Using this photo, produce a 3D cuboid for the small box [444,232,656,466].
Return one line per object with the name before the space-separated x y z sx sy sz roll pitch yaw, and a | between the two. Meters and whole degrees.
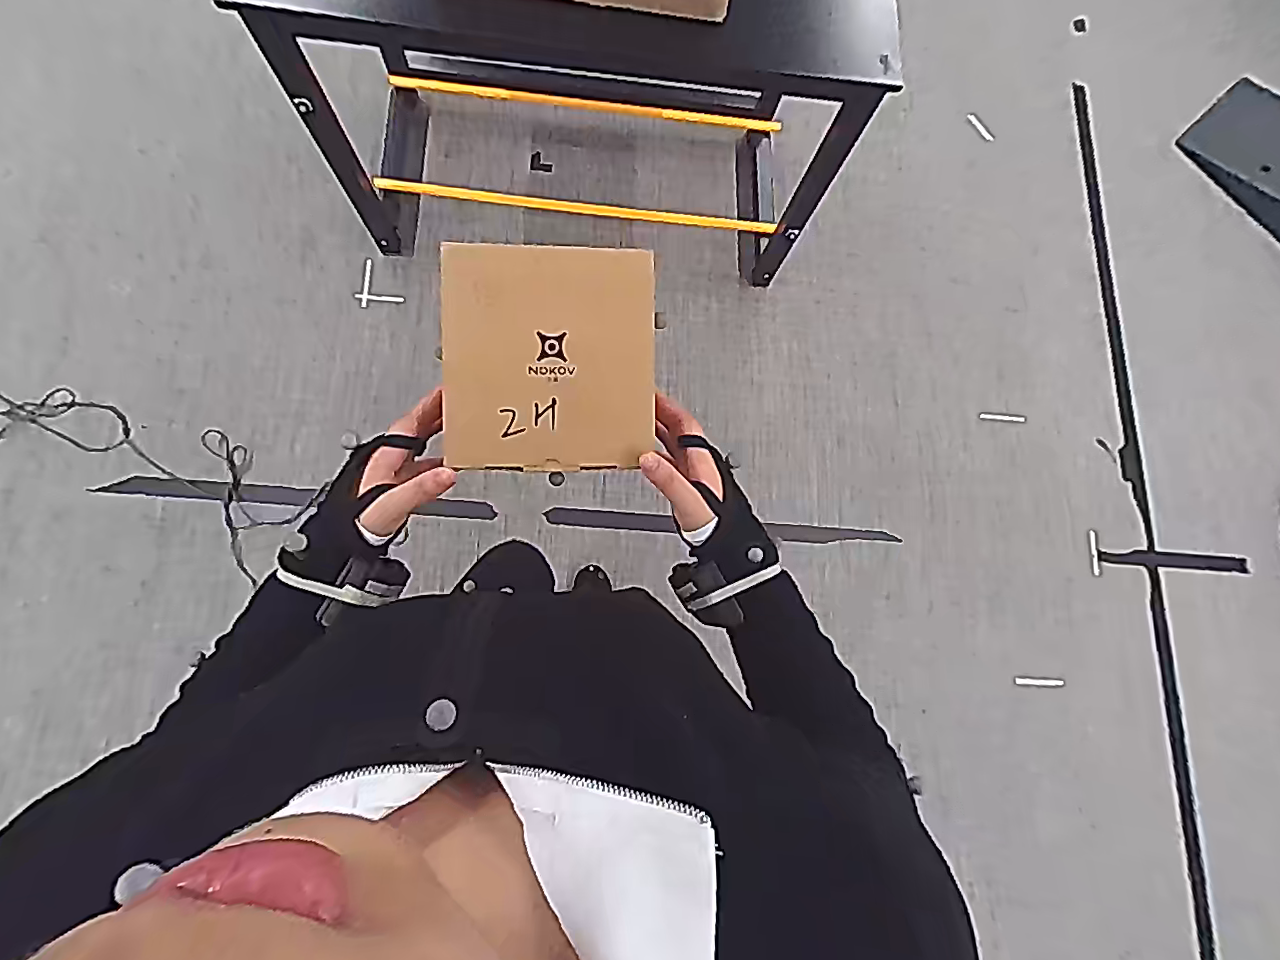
small box | -0.078 -0.103 0.501 0.168 0.176 0.179 -1 91 -6
